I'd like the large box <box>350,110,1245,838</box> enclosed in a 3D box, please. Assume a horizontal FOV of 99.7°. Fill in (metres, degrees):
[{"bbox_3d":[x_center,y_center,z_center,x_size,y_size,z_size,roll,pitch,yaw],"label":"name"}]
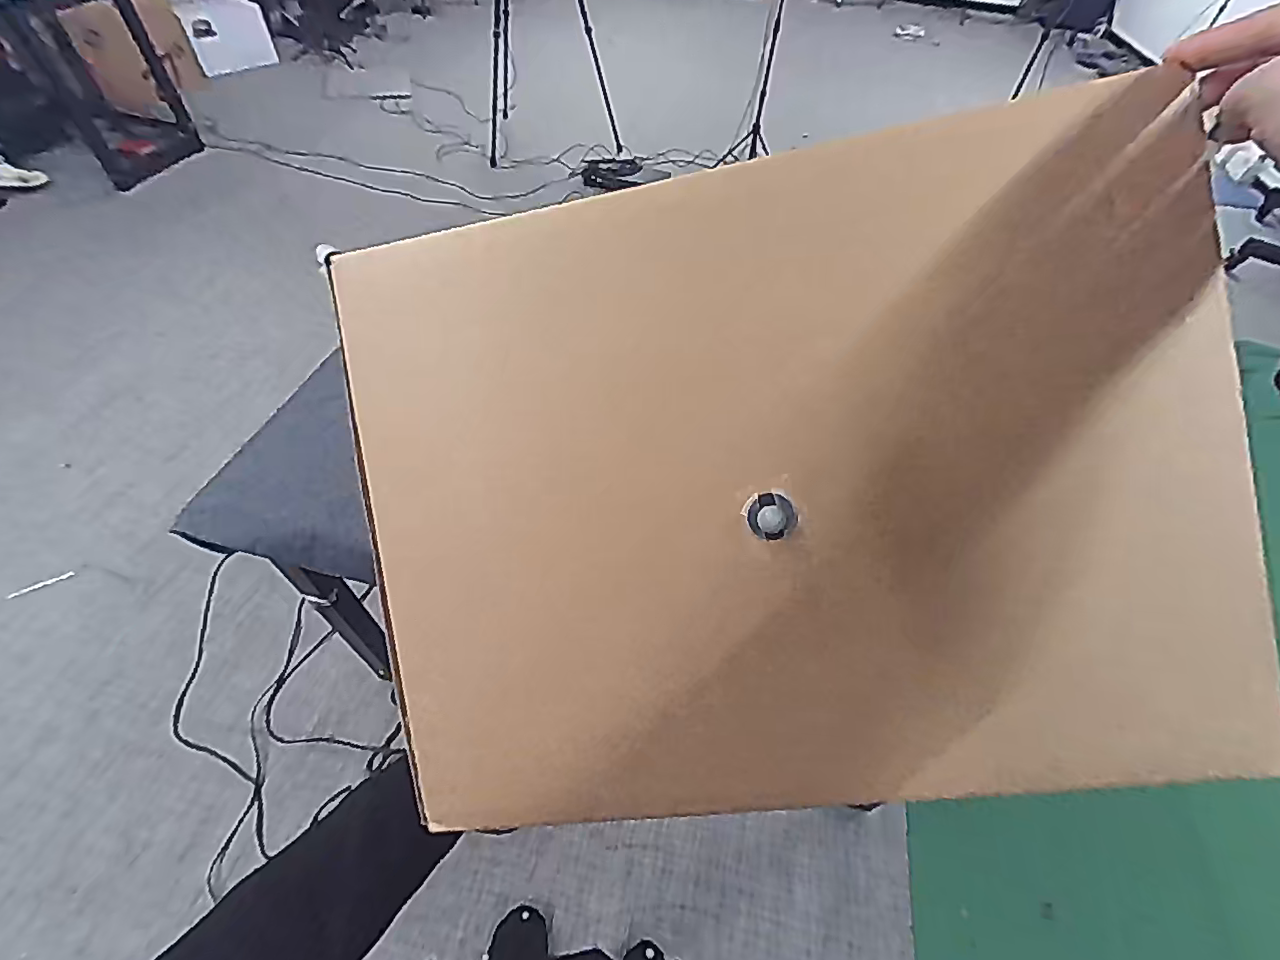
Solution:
[{"bbox_3d":[0.084,0.008,0.416,0.408,0.320,0.320,-11,91,7],"label":"large box"}]
